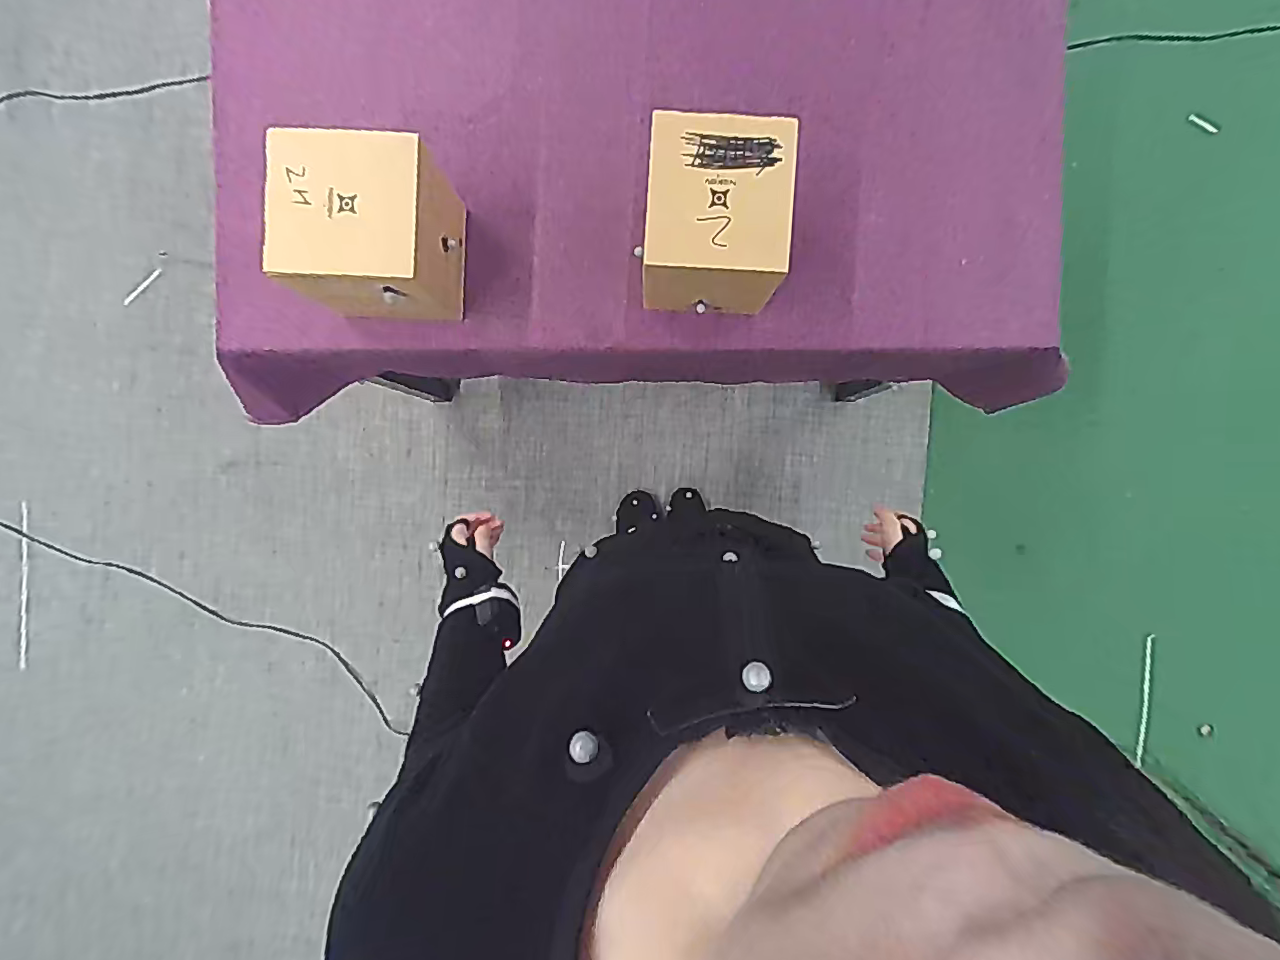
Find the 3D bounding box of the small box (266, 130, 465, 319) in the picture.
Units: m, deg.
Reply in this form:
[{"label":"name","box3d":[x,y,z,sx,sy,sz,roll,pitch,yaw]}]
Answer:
[{"label":"small box","box3d":[-0.338,-0.314,0.697,0.179,0.176,0.168,3,90,1]}]
